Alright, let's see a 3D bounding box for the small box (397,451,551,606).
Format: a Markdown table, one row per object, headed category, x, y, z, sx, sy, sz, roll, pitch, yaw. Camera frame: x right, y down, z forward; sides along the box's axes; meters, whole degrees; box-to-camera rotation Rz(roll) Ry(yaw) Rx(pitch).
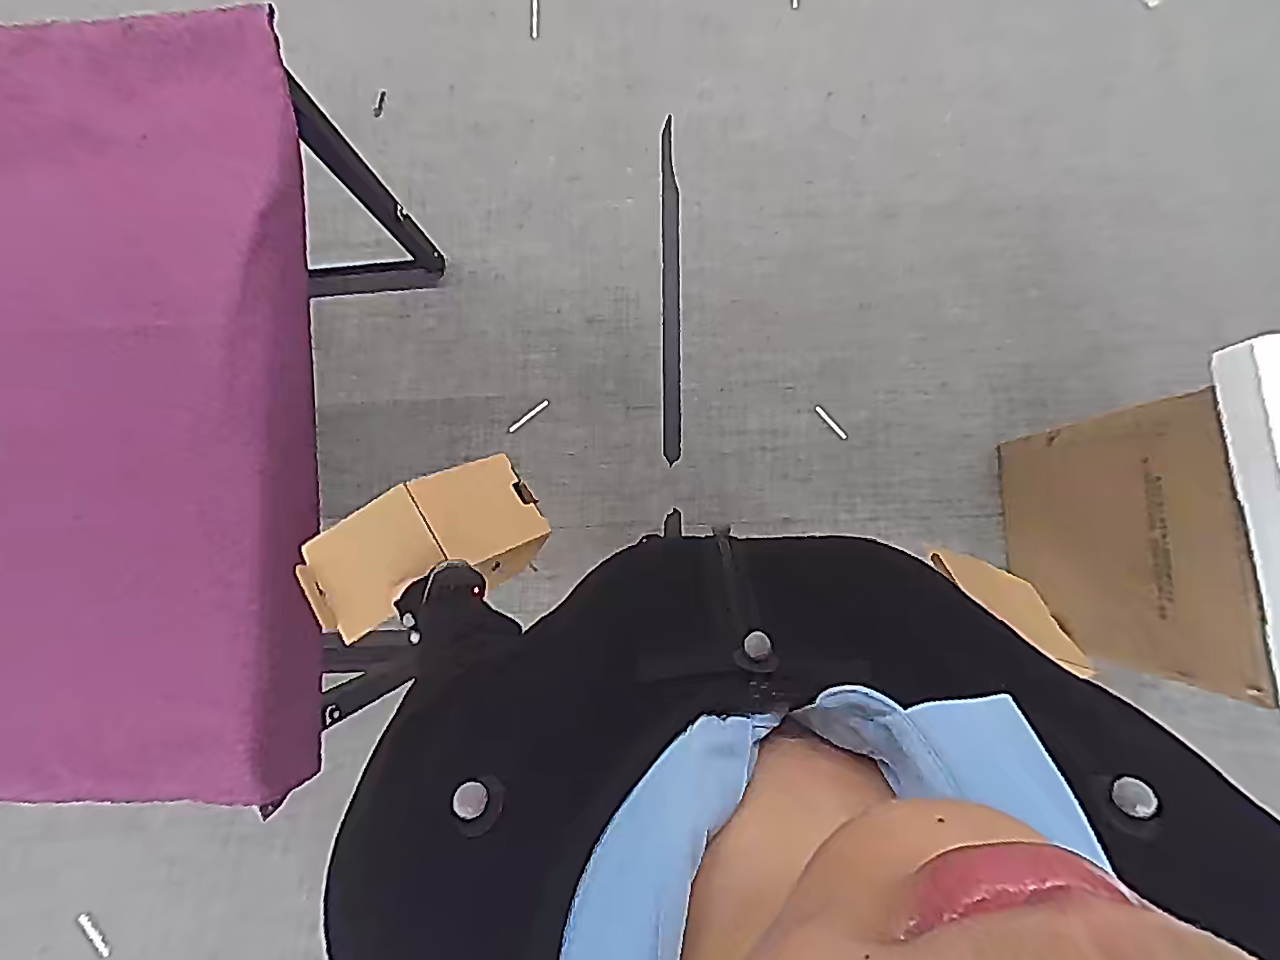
| category | x | y | z | sx | sy | sz | roll | pitch | yaw |
| --- | --- | --- | --- | --- | --- | --- | --- | --- | --- |
| small box | -0.280 | 0.082 | 0.885 | 0.179 | 0.176 | 0.168 | -22 | 72 | -41 |
